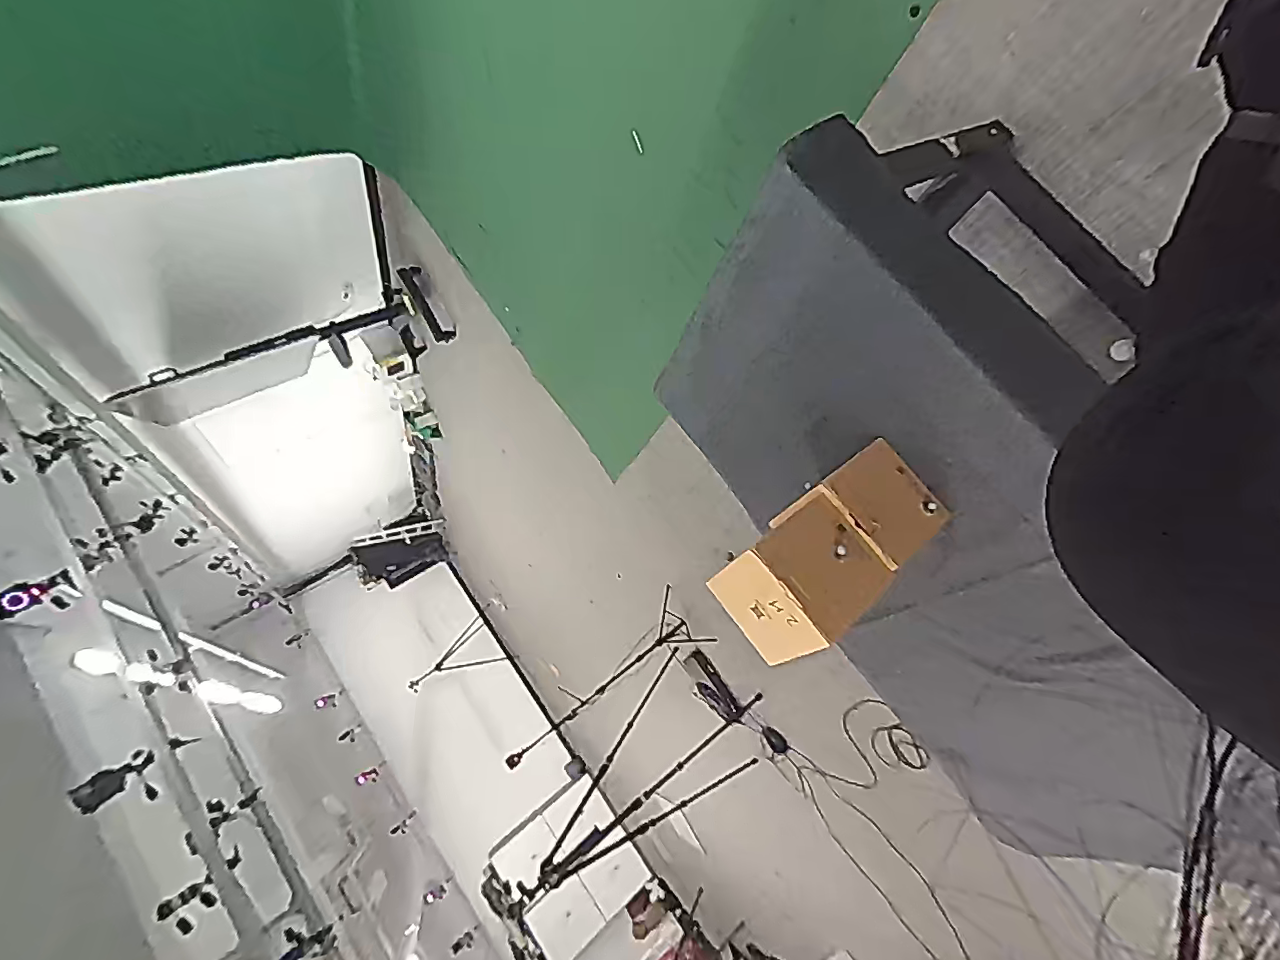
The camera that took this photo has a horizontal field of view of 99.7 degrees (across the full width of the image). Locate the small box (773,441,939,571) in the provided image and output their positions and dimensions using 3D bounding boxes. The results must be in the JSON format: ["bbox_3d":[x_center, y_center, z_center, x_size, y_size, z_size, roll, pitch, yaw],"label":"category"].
[{"bbox_3d":[0.367,0.061,0.914,0.168,0.176,0.179,53,152,12],"label":"small box"}]

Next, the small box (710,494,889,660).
[{"bbox_3d":[0.246,0.151,0.846,0.168,0.176,0.179,52,150,13],"label":"small box"}]
